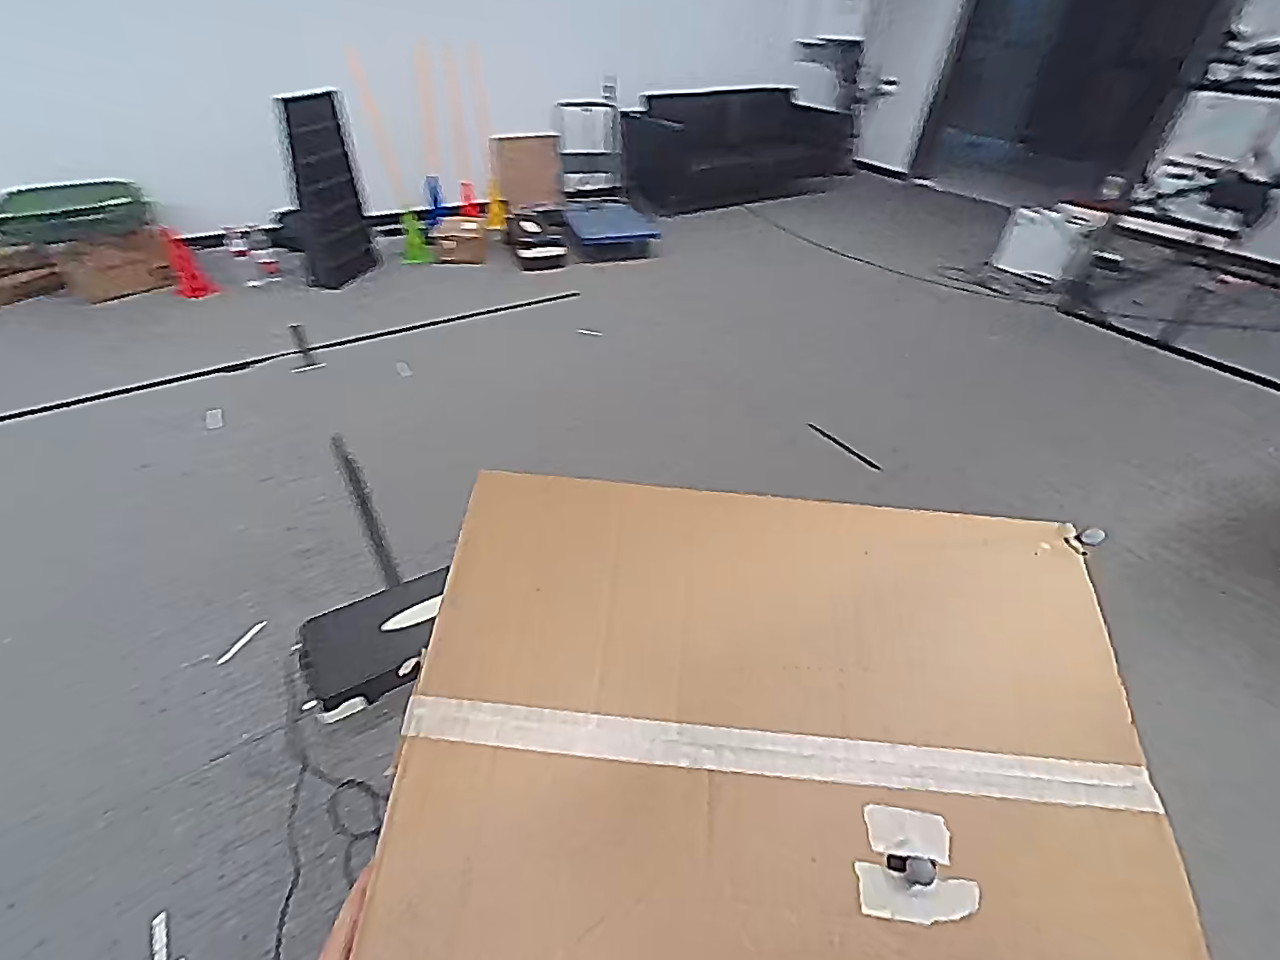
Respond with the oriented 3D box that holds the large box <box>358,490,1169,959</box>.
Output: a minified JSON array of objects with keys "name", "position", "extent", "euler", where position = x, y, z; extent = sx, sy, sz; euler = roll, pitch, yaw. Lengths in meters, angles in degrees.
[{"name":"large box","position":[0.062,0.222,0.437],"extent":[0.408,0.320,0.320],"euler":[4,63,0]}]
